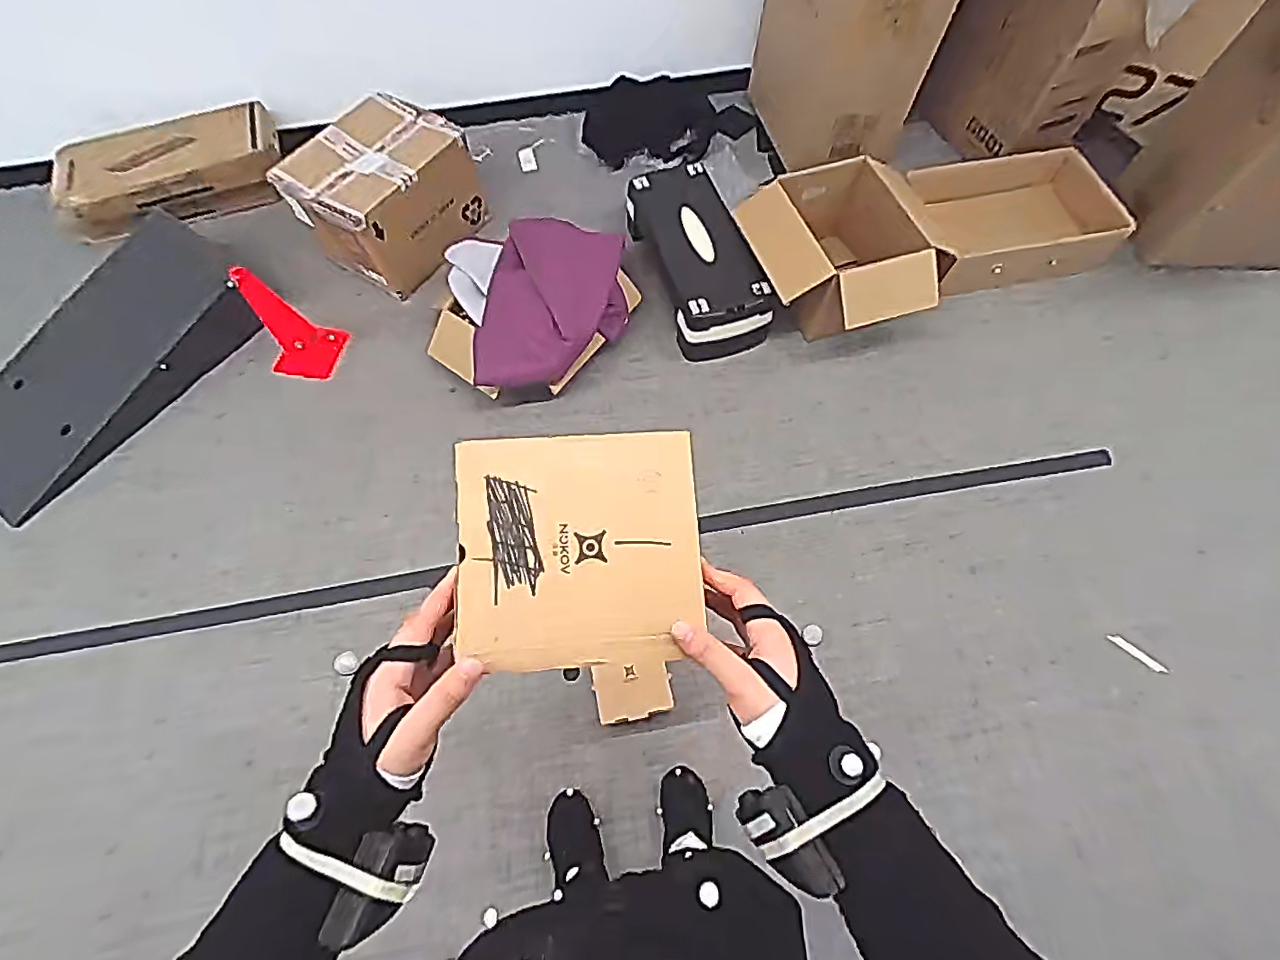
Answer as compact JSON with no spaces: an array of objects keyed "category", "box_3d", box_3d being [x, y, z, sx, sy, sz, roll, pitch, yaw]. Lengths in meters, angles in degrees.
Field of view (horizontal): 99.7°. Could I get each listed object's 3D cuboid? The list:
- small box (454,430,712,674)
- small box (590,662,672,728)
[{"category":"small box","box_3d":[-0.045,0.064,0.457,0.179,0.176,0.168,-4,78,-4]},{"category":"small box","box_3d":[-0.022,0.467,1.266,0.168,0.176,0.179,-11,67,-4]}]
